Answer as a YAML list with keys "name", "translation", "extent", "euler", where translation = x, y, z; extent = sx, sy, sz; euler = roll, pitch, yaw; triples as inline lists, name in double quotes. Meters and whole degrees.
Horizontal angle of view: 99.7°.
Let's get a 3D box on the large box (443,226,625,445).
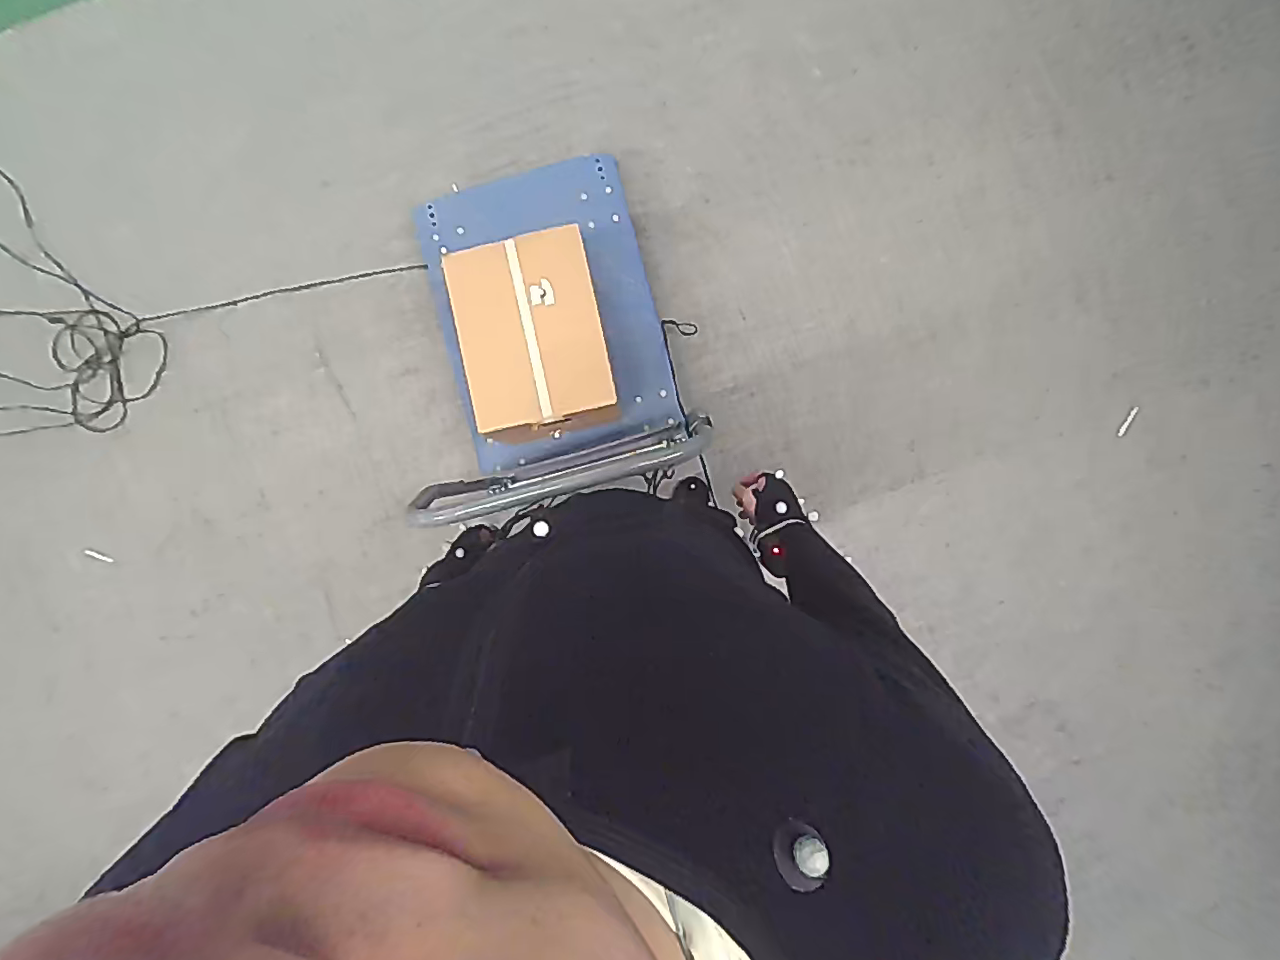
- name: "large box"
  translation: [-0.233, -0.321, 1.314]
  extent: [0.320, 0.320, 0.408]
  euler: [-12, 89, 0]
